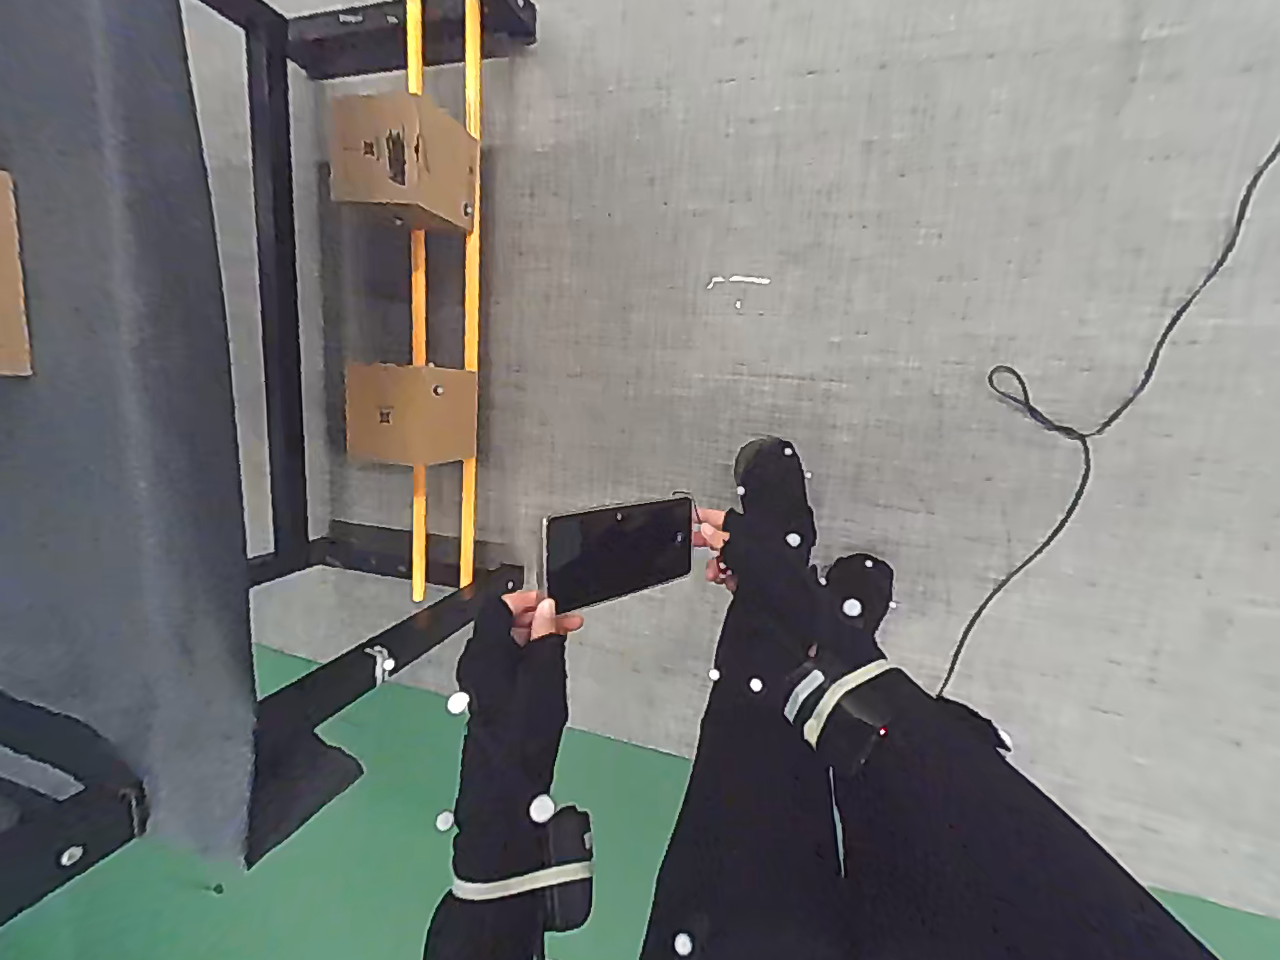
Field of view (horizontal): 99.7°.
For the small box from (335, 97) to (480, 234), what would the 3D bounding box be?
[{"bbox_3d":[-0.407,-0.551,0.965,0.179,0.176,0.168,10,101,15],"label":"small box"}]
